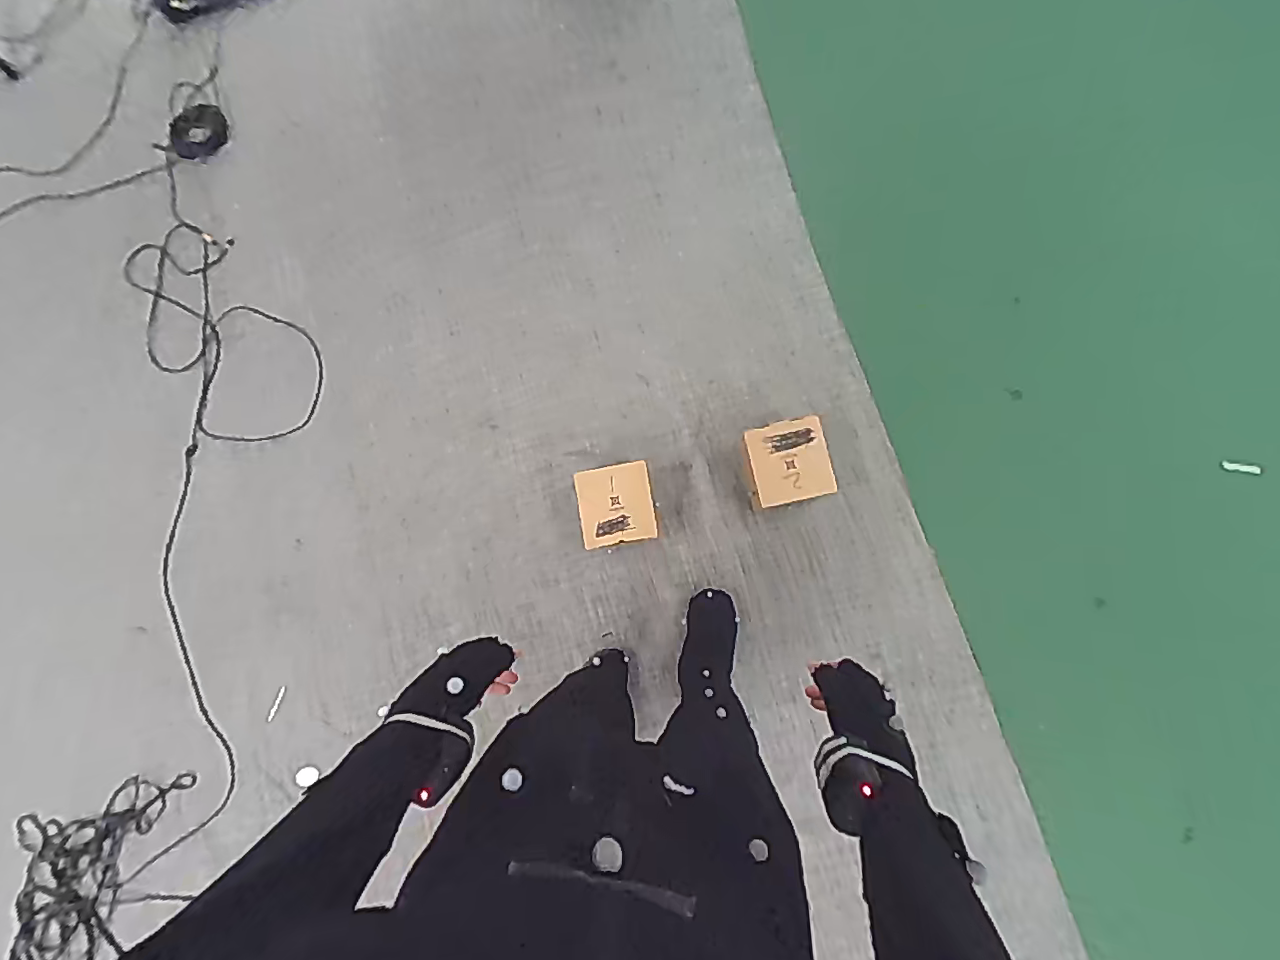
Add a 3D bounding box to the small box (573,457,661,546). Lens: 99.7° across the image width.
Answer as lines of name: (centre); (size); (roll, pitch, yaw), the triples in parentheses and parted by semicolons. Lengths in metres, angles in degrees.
small box: (-0.048, 0.055, 1.264); (0.168, 0.176, 0.179); (-10, 82, 5)
